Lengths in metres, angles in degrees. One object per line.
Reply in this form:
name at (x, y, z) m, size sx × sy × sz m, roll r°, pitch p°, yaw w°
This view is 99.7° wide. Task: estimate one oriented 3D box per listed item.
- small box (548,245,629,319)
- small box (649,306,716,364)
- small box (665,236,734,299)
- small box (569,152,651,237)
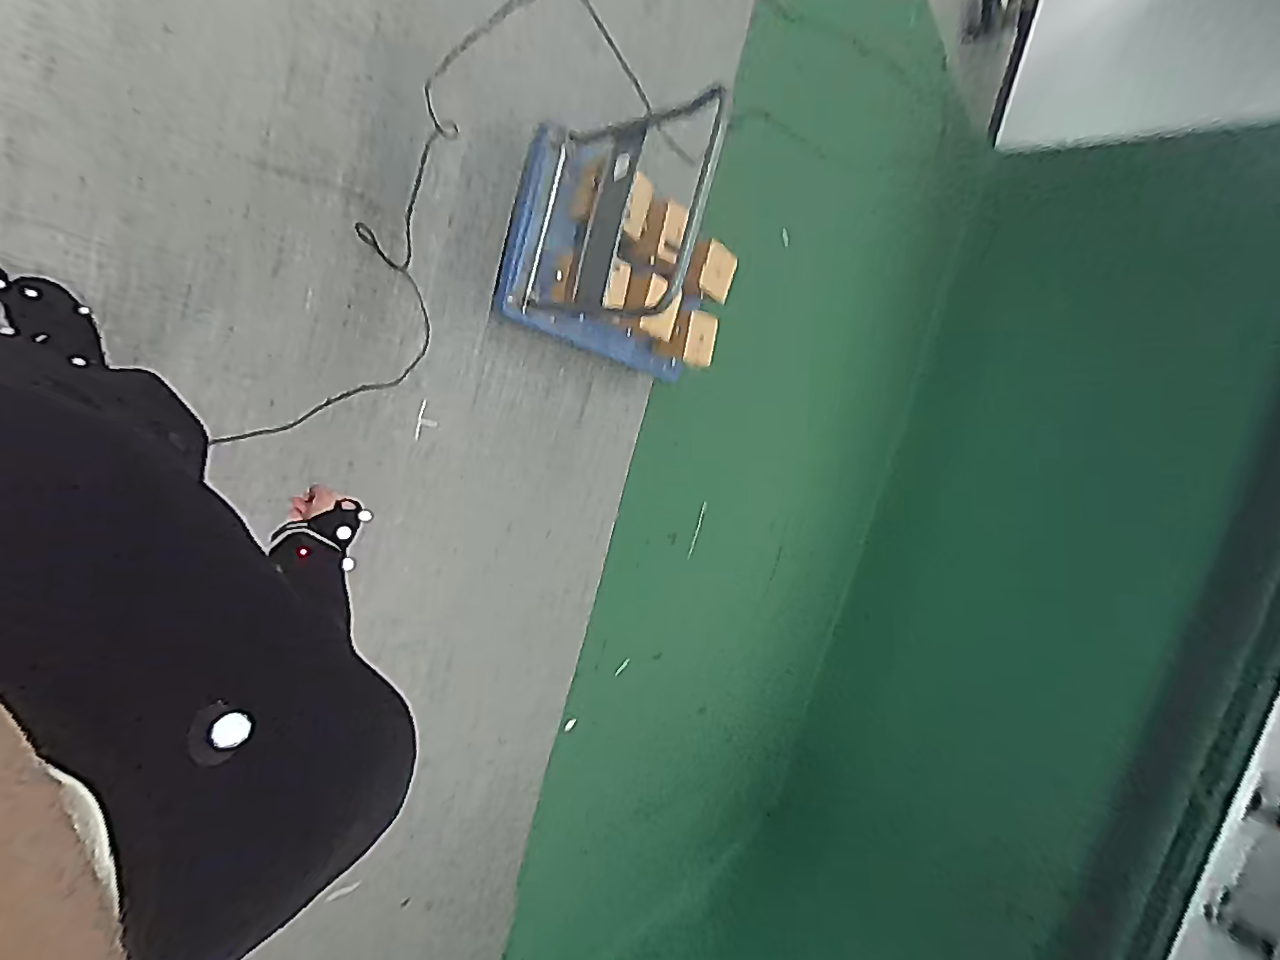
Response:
small box at (-0.167, -0.622, 1.705) m, size 0.168 × 0.176 × 0.179 m, roll 6°, pitch 102°, yaw -48°
small box at (0.159, -0.559, 2.074) m, size 0.168 × 0.176 × 0.179 m, roll 10°, pitch 99°, yaw -45°
small box at (0.222, -0.803, 2.052) m, size 0.179 × 0.176 × 0.168 m, roll 14°, pitch 96°, yaw -48°
small box at (-0.098, -0.875, 1.679) m, size 0.168 × 0.176 × 0.179 m, roll 13°, pitch 95°, yaw -49°
